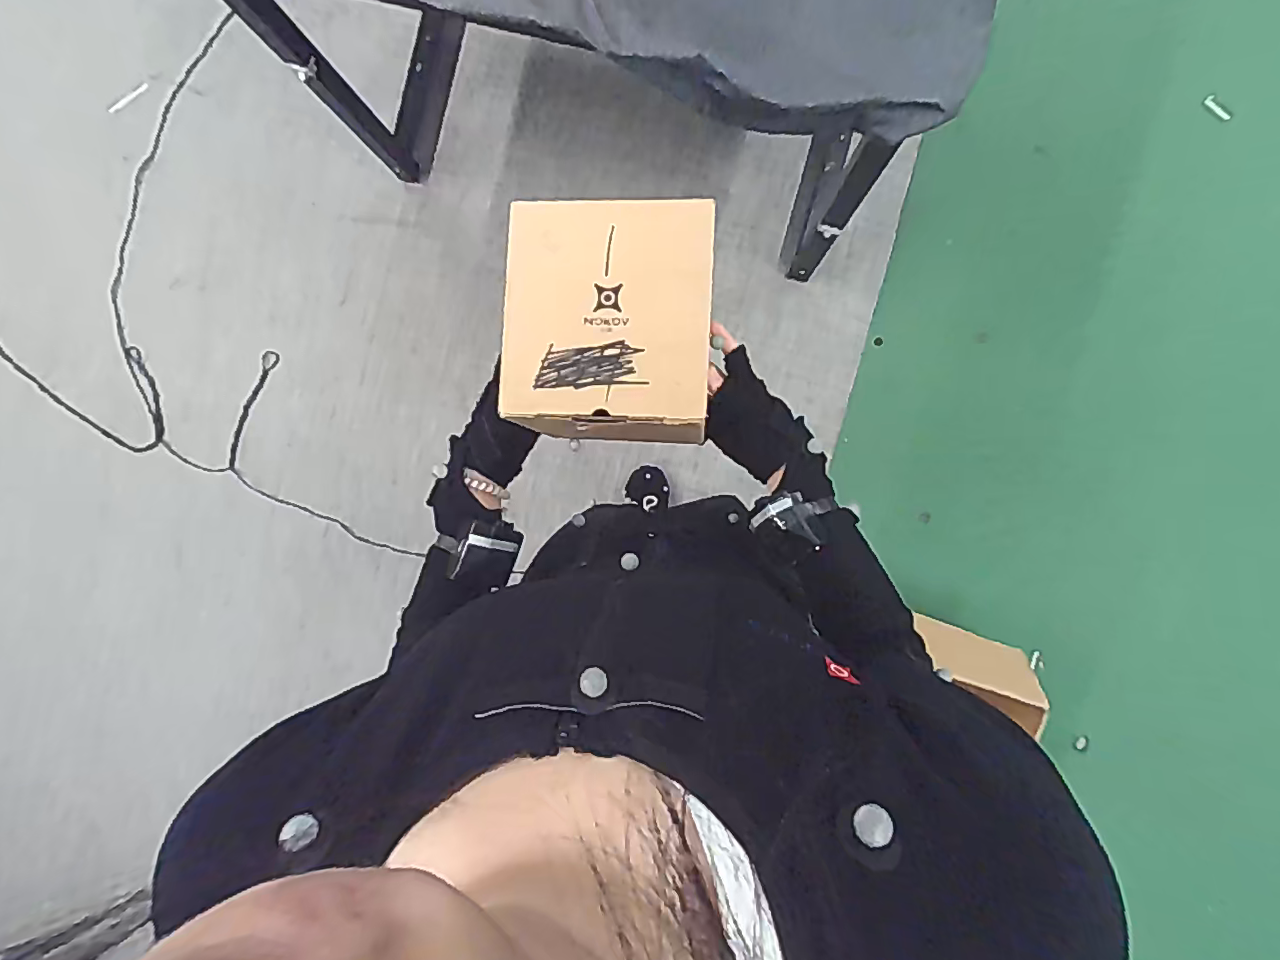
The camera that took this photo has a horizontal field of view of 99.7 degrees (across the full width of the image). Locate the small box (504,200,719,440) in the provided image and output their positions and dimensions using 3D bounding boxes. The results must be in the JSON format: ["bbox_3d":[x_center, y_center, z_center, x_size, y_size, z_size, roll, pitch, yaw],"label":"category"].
[{"bbox_3d":[-0.017,-0.132,0.504,0.168,0.176,0.179,3,89,5],"label":"small box"}]
